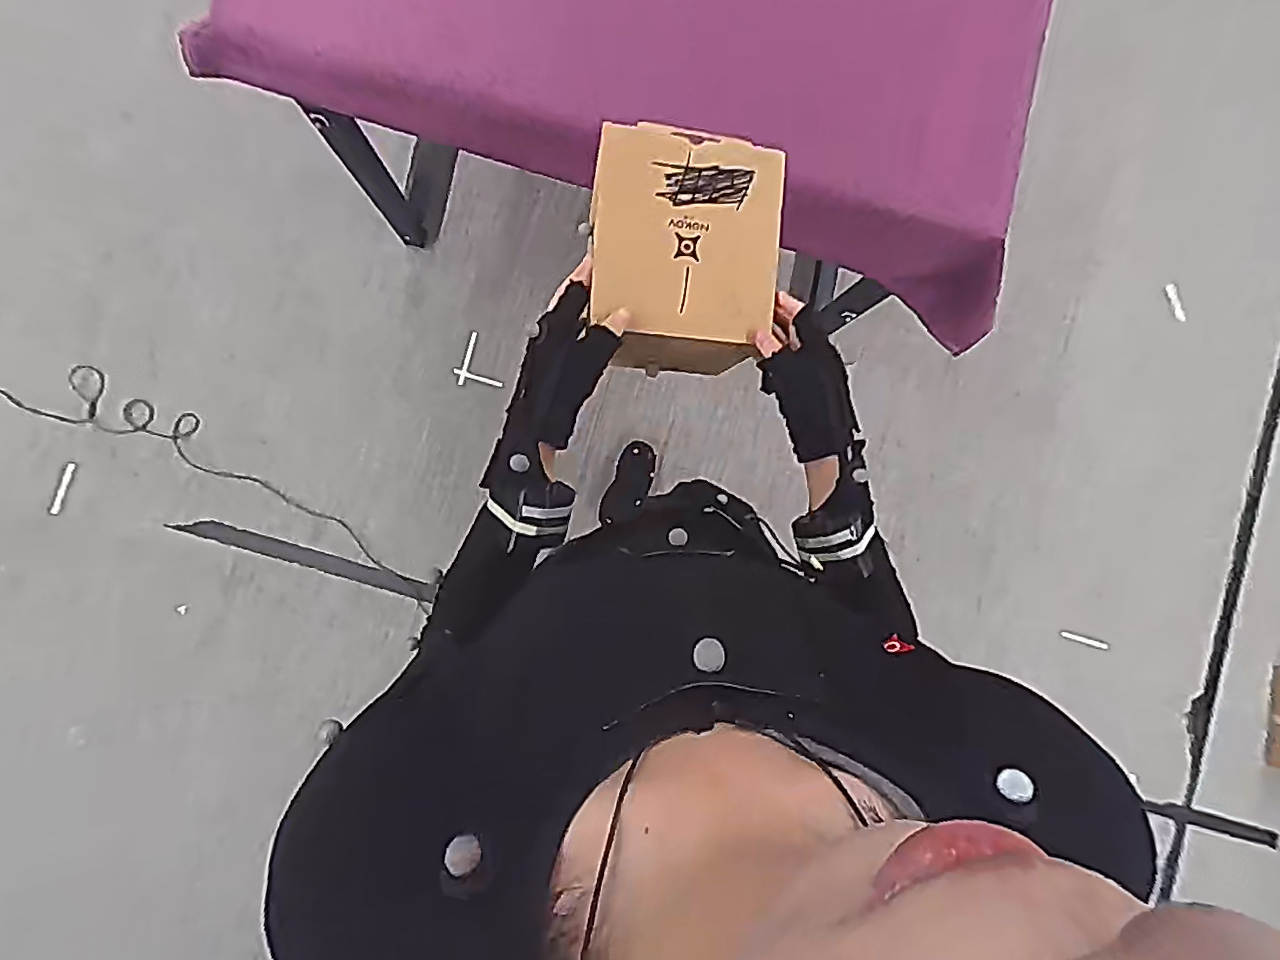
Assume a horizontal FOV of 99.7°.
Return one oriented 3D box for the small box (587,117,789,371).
[{"bbox_3d":[0.036,-0.218,0.549,0.168,0.176,0.179,3,91,-8],"label":"small box"}]
